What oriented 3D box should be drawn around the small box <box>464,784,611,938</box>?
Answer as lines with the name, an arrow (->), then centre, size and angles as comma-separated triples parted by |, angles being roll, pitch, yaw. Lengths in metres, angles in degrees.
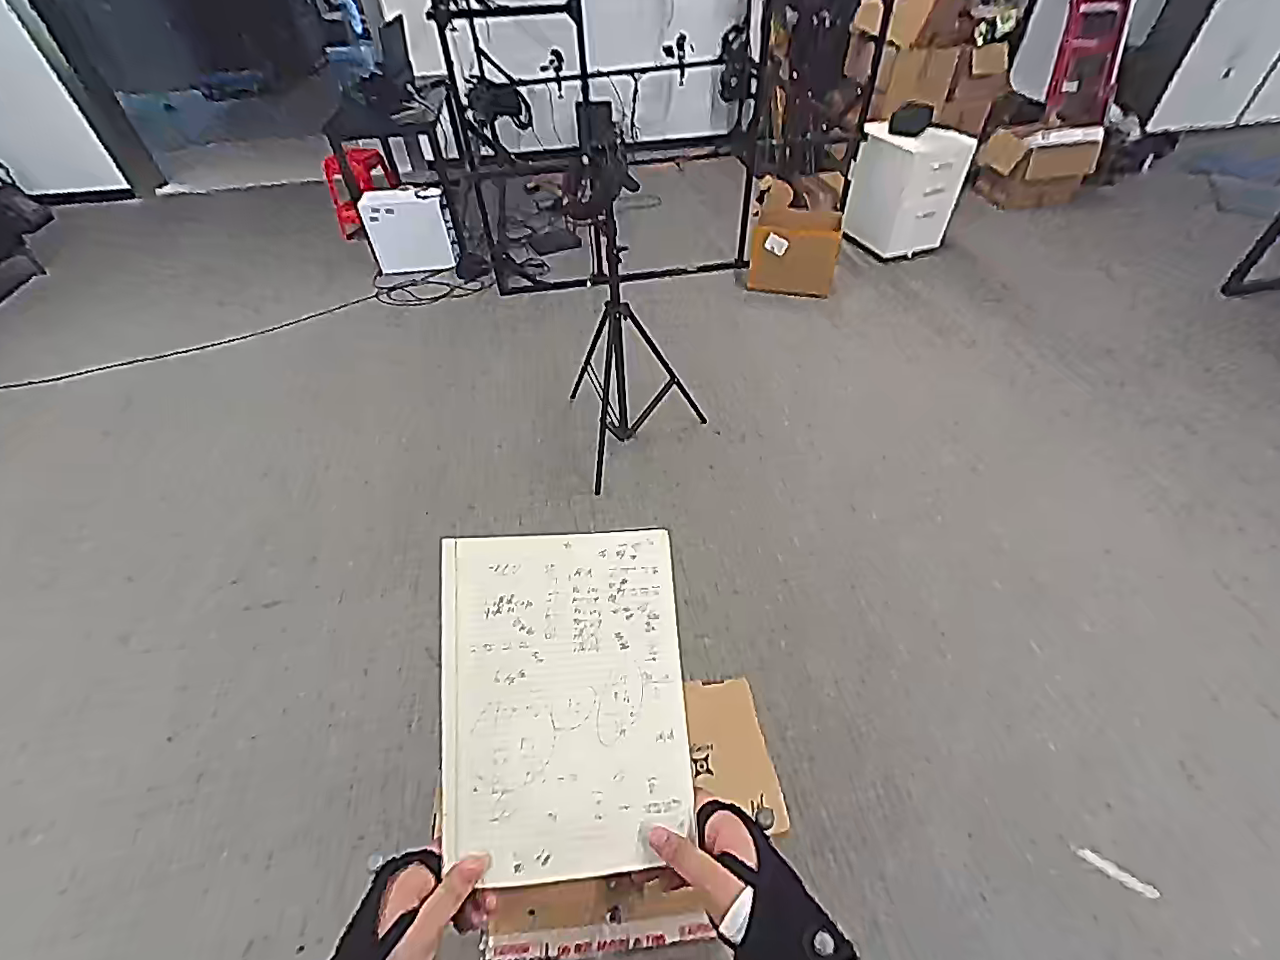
small box -> -0.134, 0.556, 0.788 | 0.179, 0.176, 0.168 | -4, 48, 1

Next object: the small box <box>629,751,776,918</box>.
small box -> 0.080, 0.529, 0.807 | 0.179, 0.176, 0.168 | -8, 48, -7
